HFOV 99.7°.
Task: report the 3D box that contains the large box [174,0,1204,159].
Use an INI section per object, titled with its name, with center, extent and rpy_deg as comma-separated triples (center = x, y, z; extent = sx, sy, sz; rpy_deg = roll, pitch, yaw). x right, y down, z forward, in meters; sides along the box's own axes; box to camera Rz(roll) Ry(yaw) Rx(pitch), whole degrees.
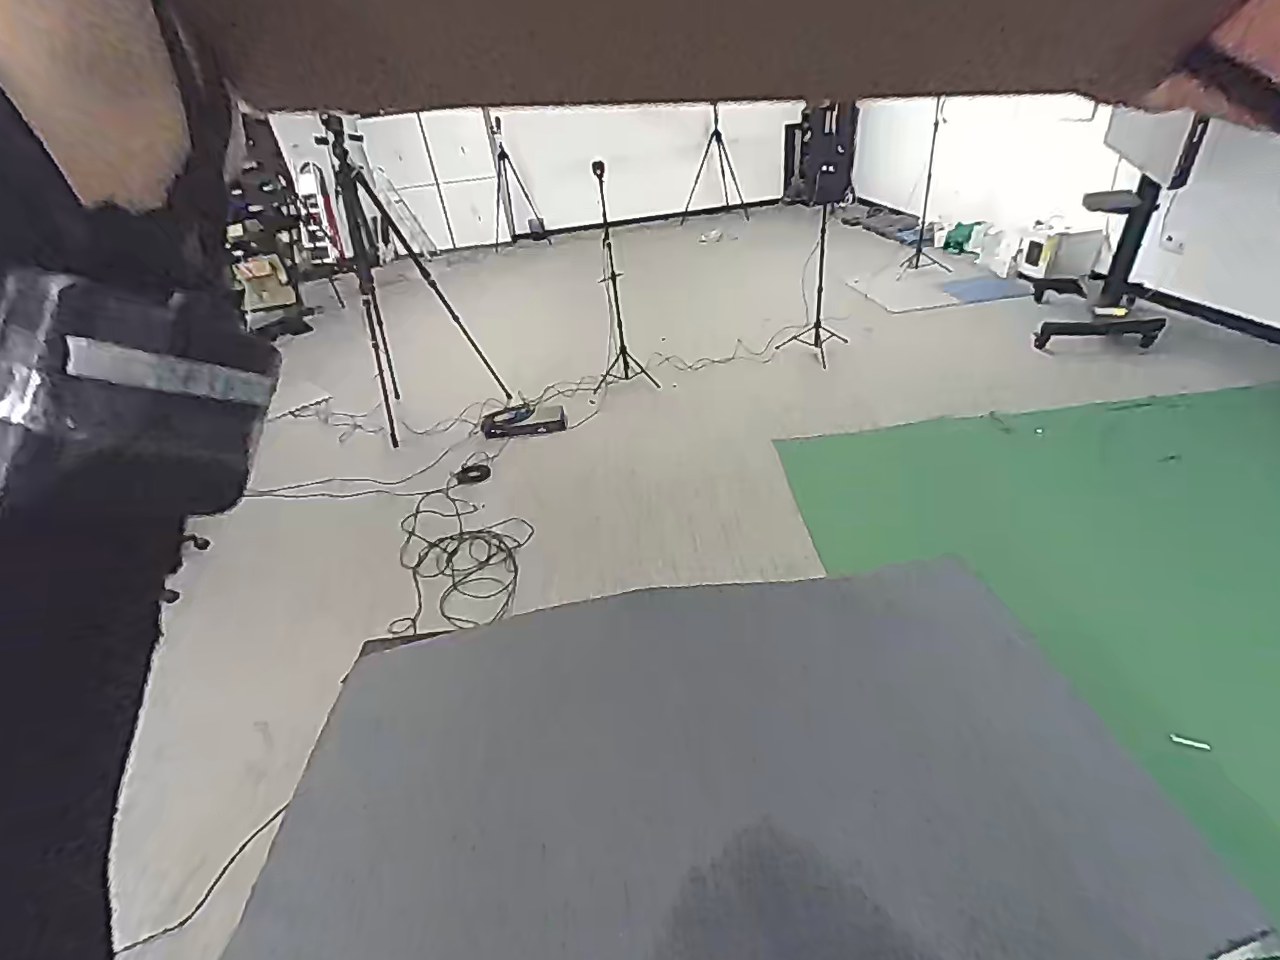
[large box]
center = 0.026, -0.346, 0.159
extent = 0.408, 0.320, 0.320
rpy_deg = -6, 72, -6
